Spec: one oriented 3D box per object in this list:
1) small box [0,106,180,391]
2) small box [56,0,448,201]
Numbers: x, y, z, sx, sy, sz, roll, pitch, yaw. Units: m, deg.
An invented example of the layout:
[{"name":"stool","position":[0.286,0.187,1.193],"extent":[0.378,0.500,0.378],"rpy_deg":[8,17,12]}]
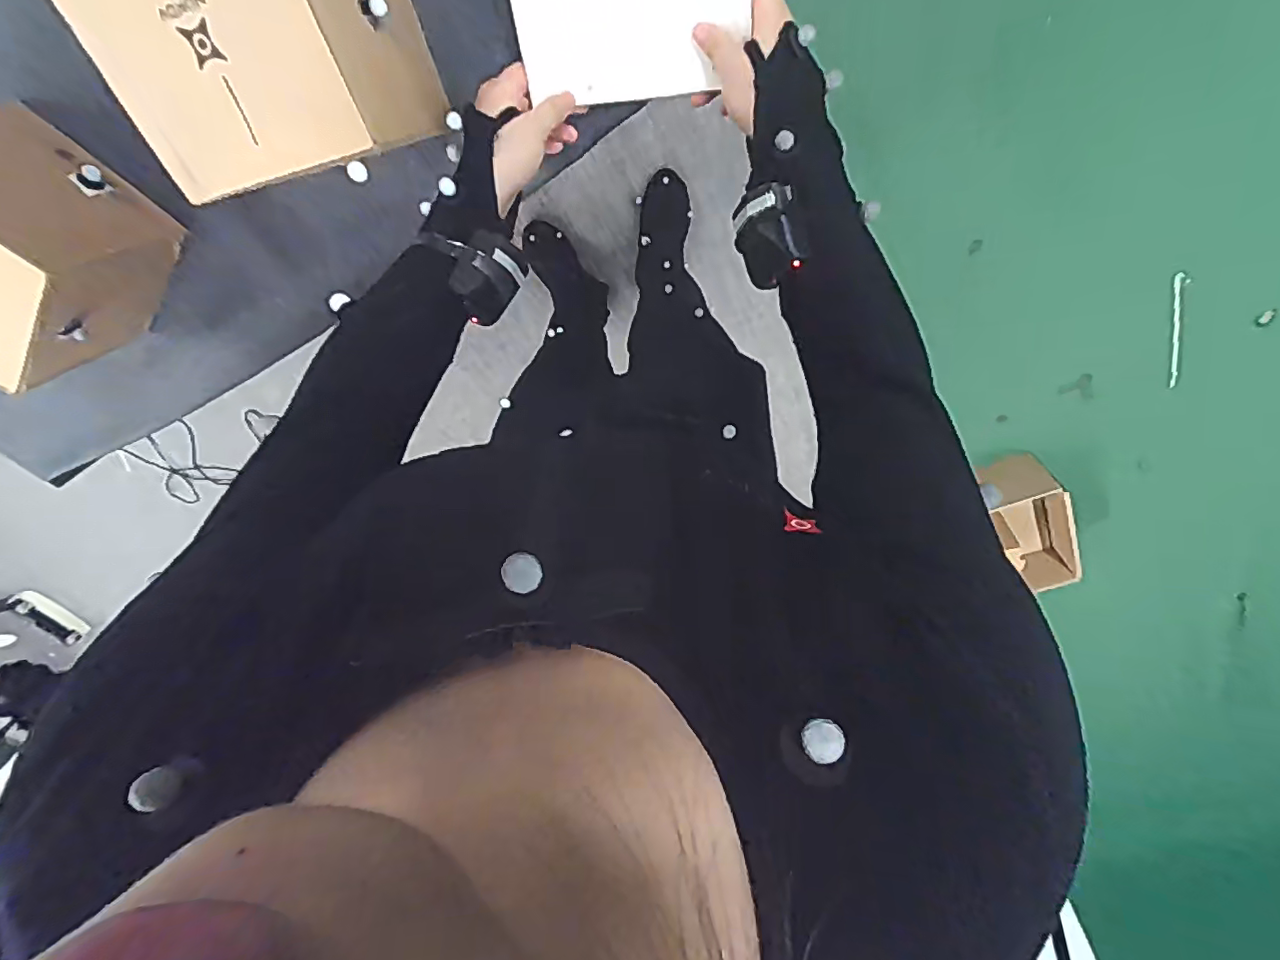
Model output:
[{"name":"small box","position":[-0.613,-0.228,0.534],"extent":[0.168,0.176,0.179],"rpy_deg":[38,120,-24]},{"name":"small box","position":[-0.279,-0.340,0.413],"extent":[0.168,0.176,0.179],"rpy_deg":[-8,127,12]}]
